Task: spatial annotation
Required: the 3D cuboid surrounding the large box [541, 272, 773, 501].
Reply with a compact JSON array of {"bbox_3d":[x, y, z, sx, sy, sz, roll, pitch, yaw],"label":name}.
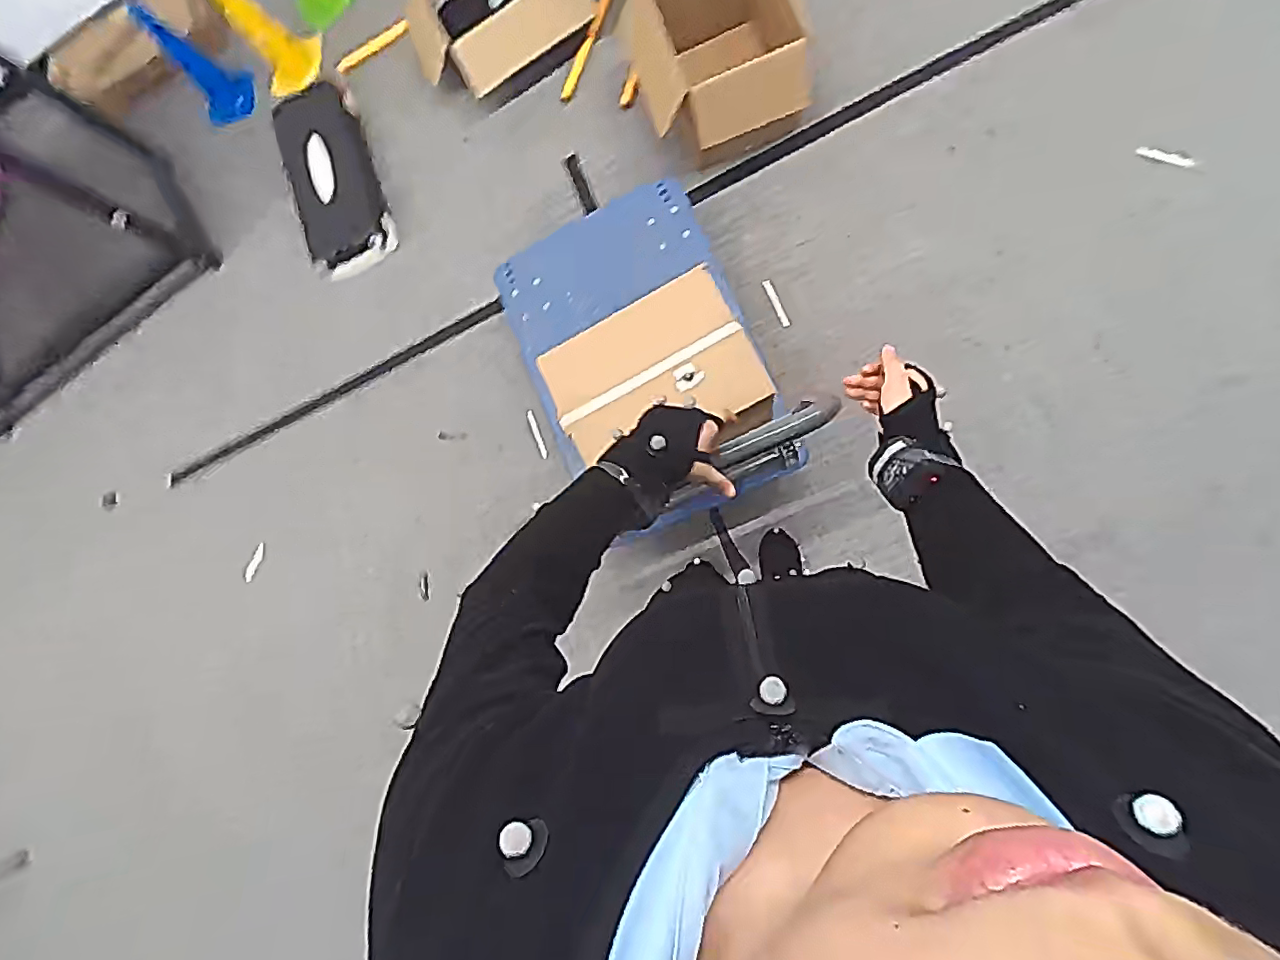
[{"bbox_3d":[0.050,-0.186,1.252,0.408,0.320,0.320,-28,79,6],"label":"large box"}]
